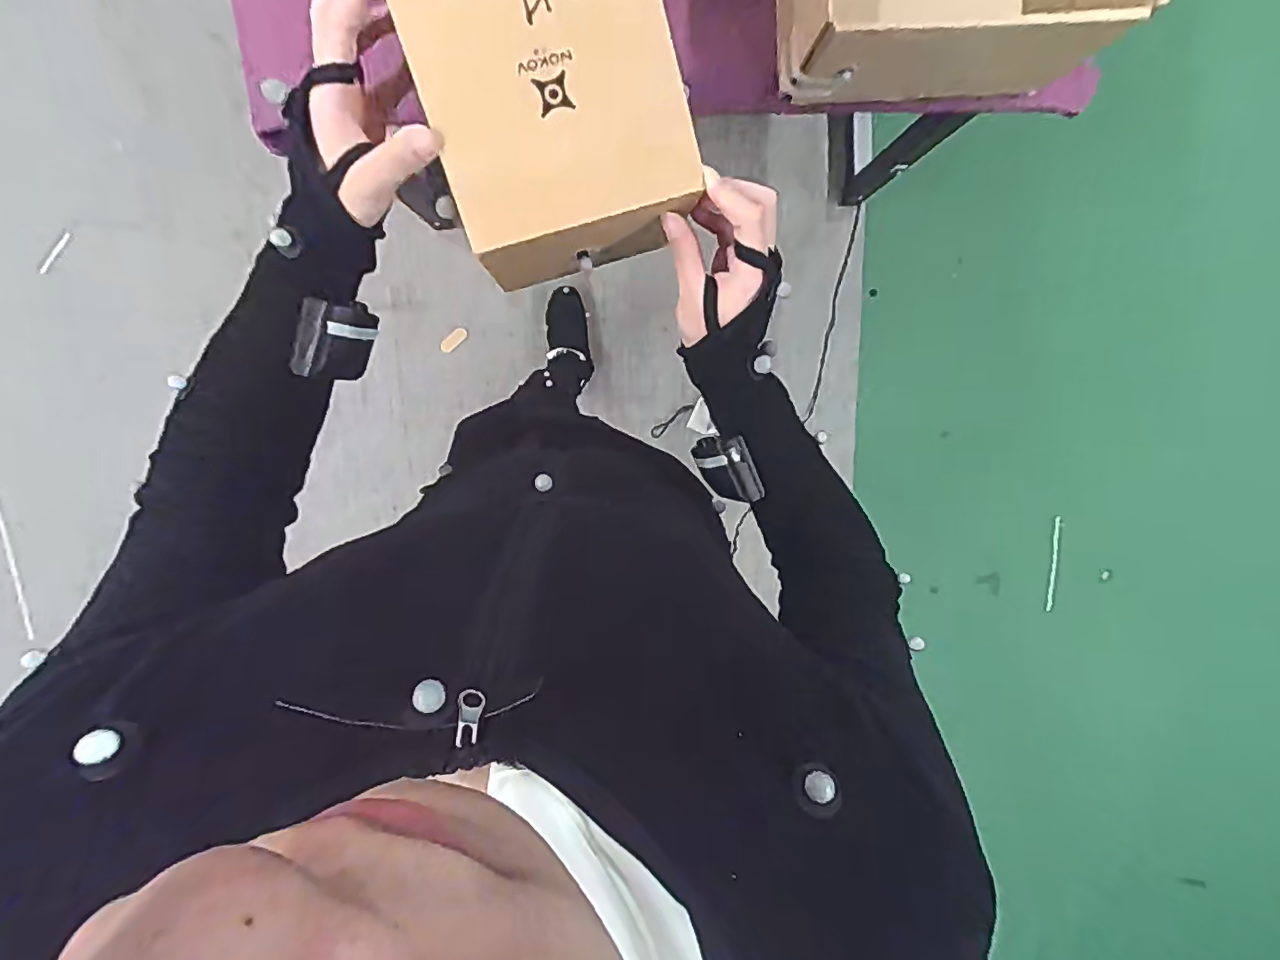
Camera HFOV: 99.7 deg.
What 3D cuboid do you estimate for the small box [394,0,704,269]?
[{"bbox_3d":[-0.064,-0.275,0.416,0.168,0.176,0.179,-17,102,-4],"label":"small box"}]
